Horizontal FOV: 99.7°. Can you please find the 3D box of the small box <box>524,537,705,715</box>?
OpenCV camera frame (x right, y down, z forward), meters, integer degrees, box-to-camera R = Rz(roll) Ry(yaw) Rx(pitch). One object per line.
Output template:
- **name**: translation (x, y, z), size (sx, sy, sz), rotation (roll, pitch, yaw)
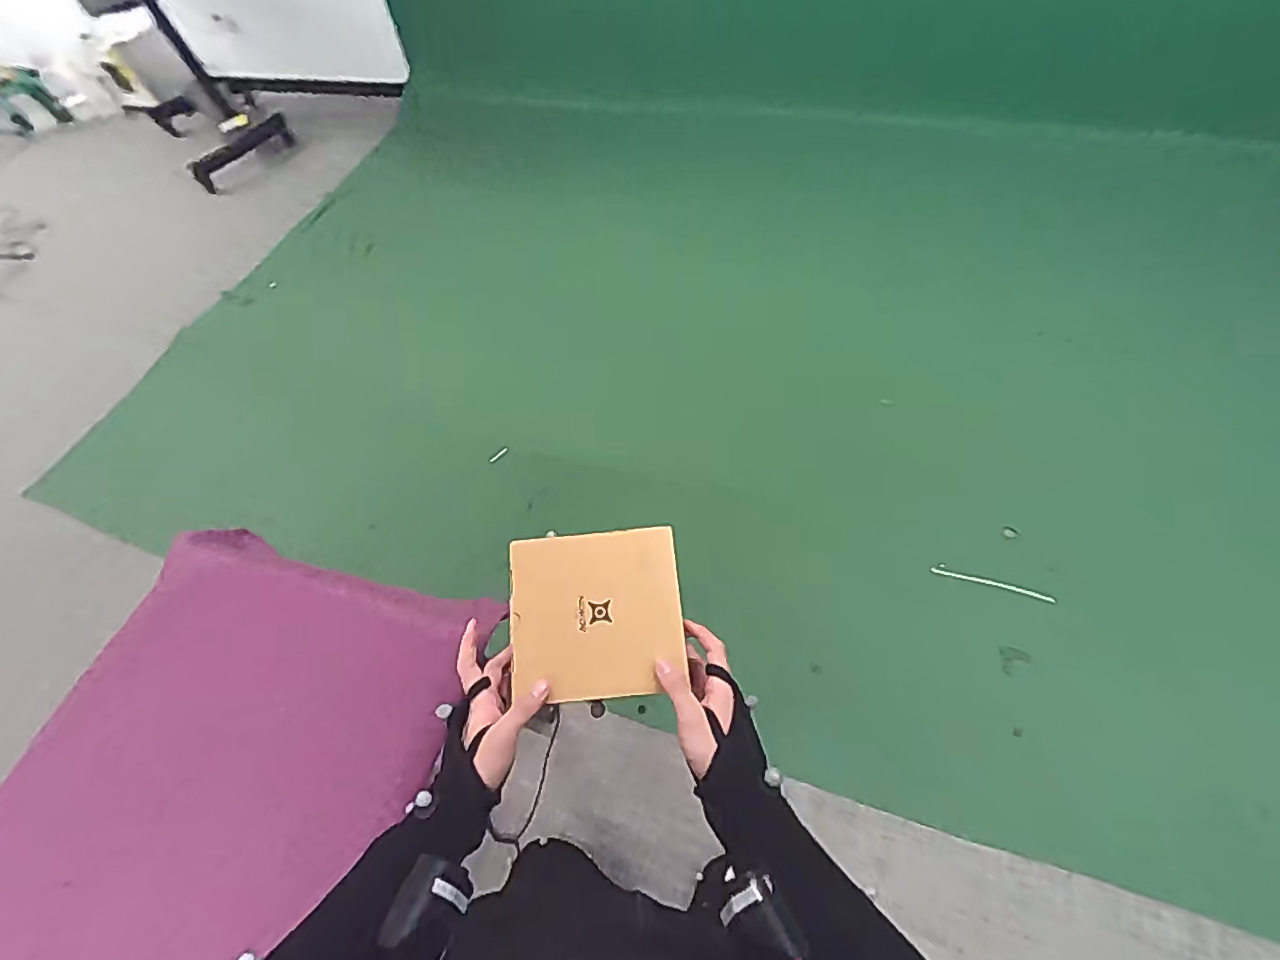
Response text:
- **small box**: translation (-0.028, 0.168, 0.615), size (0.179, 0.176, 0.168), rotation (-5, 69, 1)
